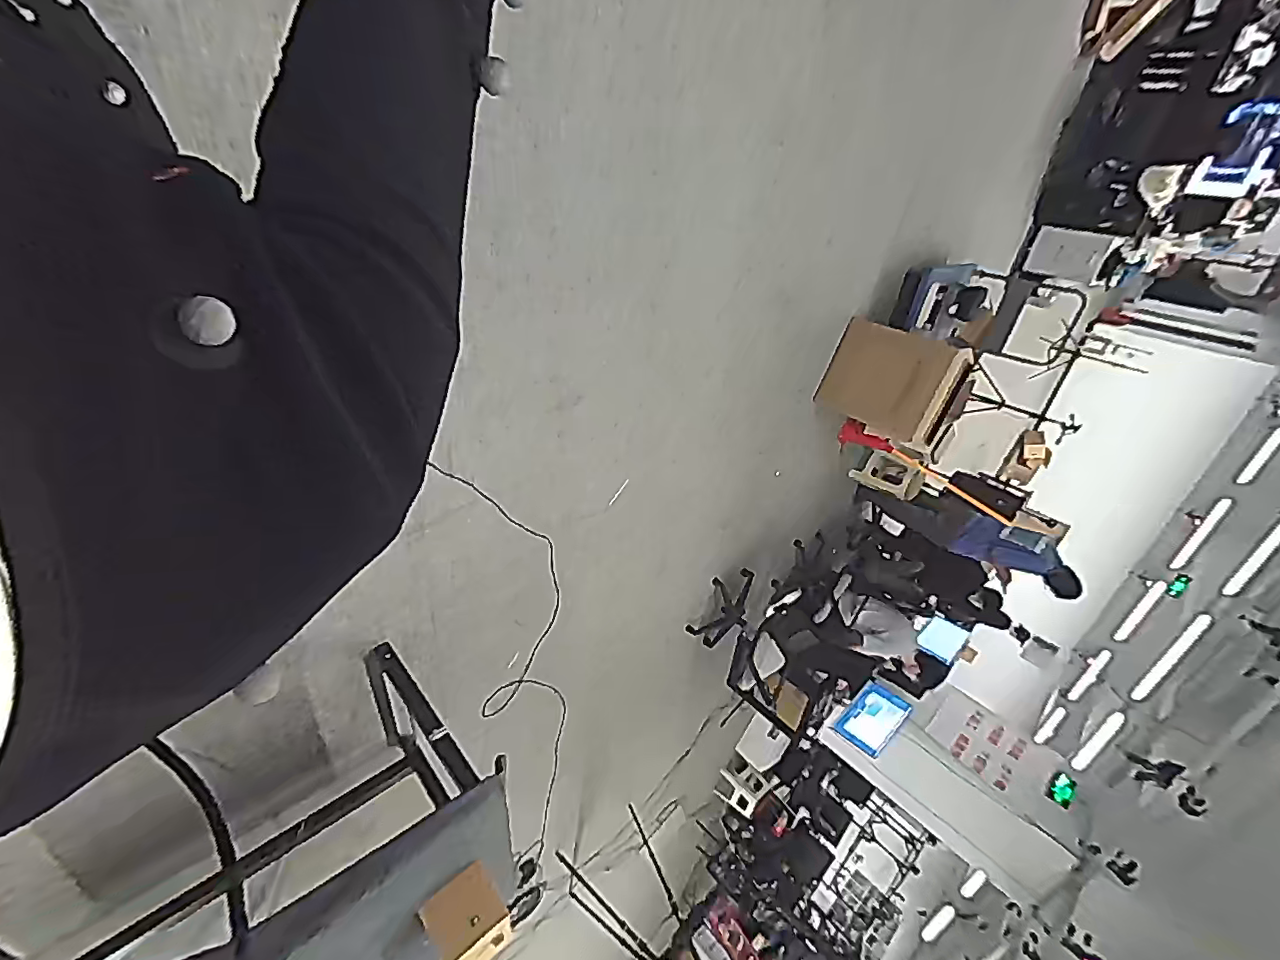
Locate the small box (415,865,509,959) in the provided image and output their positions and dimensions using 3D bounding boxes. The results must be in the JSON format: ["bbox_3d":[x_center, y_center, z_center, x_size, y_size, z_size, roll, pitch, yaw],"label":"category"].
[{"bbox_3d":[-0.472,1.187,1.444,0.179,0.176,0.168,-24,132,-36],"label":"small box"}]
